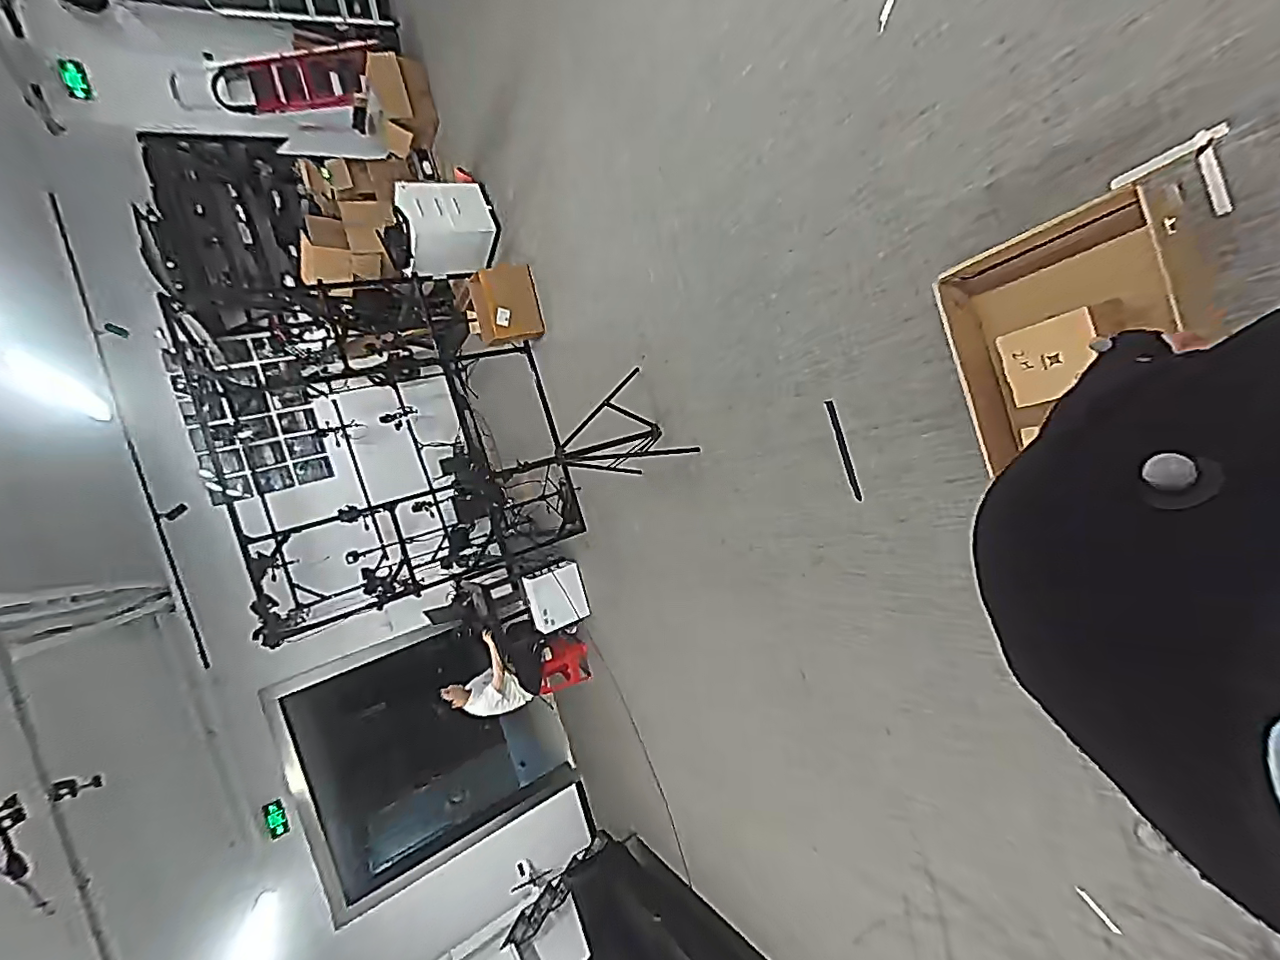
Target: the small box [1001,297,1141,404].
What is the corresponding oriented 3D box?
[{"bbox_3d":[0.925,-0.277,1.156,0.179,0.176,0.168,-17,91,61],"label":"small box"}]
